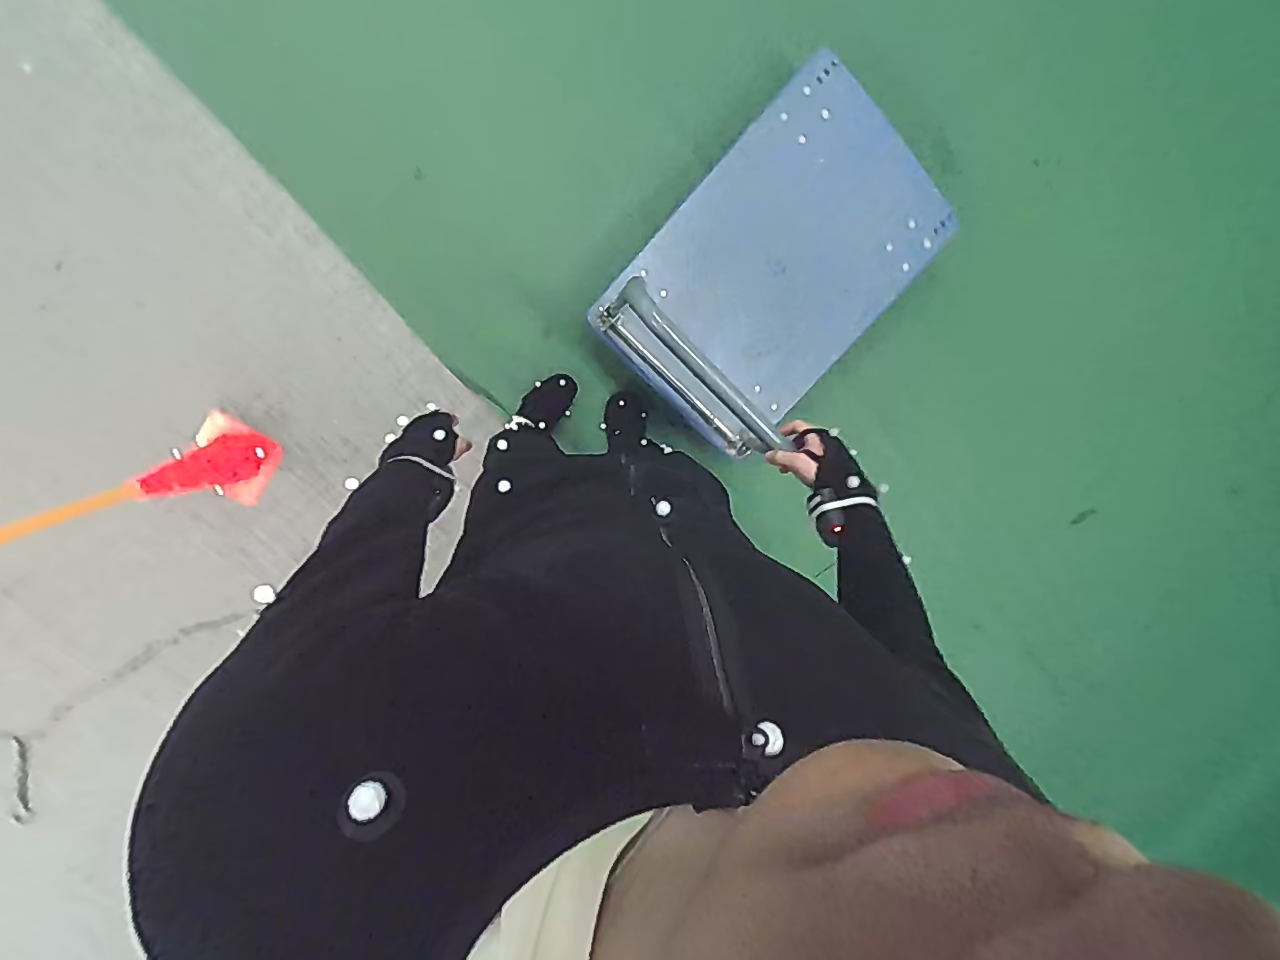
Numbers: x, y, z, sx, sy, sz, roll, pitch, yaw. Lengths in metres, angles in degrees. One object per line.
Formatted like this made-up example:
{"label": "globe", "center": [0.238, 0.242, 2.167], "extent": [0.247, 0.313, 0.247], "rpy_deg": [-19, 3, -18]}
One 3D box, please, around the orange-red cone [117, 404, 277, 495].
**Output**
{"label": "orange-red cone", "center": [-1.098, -0.043, 1.300], "extent": [0.199, 0.360, 0.198], "rpy_deg": [34, 96, -13]}
